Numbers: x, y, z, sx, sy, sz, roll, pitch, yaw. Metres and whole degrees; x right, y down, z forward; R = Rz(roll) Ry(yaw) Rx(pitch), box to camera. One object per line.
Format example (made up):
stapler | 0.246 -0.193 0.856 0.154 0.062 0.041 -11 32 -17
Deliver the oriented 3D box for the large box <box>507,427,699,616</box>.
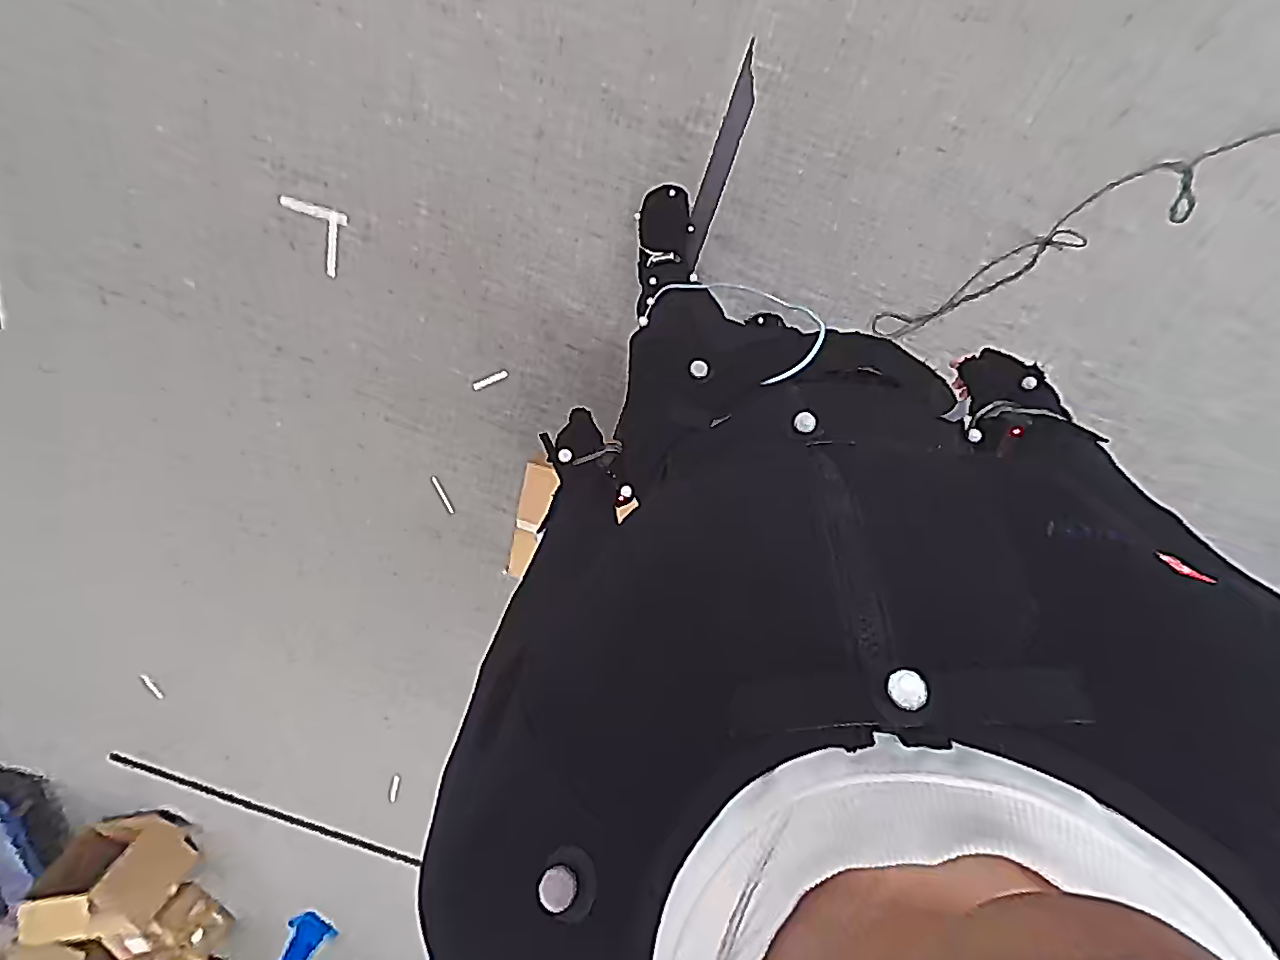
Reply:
large box | -0.083 0.093 1.406 0.408 0.320 0.320 17 112 2
